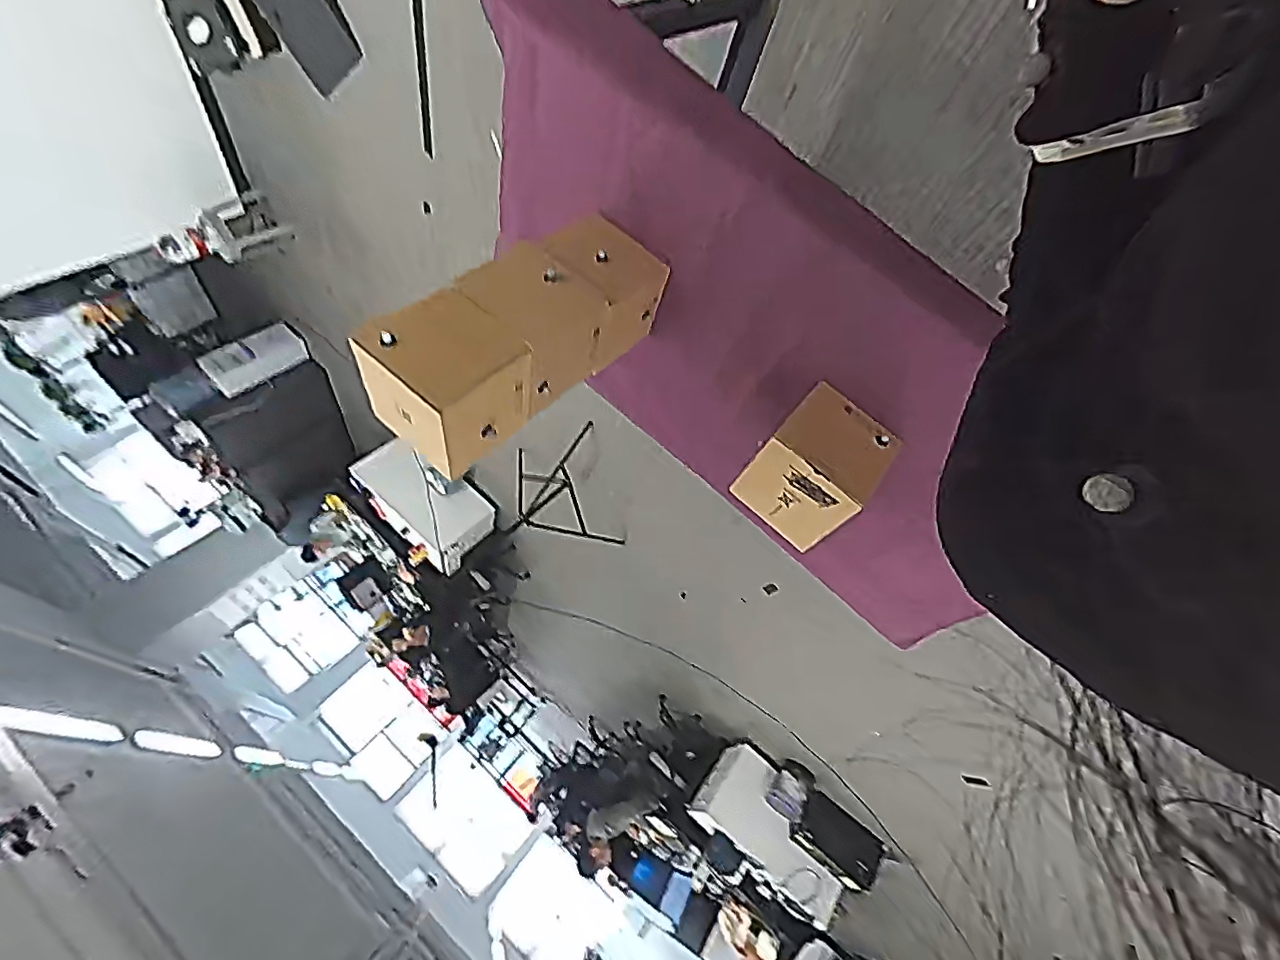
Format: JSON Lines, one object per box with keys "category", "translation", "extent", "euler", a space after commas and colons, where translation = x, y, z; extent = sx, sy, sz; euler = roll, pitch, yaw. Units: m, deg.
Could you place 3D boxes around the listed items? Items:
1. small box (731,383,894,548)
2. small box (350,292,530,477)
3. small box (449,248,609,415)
{"category": "small box", "translation": [0.286, -0.026, 0.889], "extent": [0.168, 0.176, 0.179], "euler": [41, 149, 9]}
{"category": "small box", "translation": [-0.278, -0.144, 0.795], "extent": [0.179, 0.176, 0.168], "euler": [38, 148, 12]}
{"category": "small box", "translation": [-0.177, -0.246, 0.873], "extent": [0.179, 0.176, 0.168], "euler": [38, 148, 13]}
